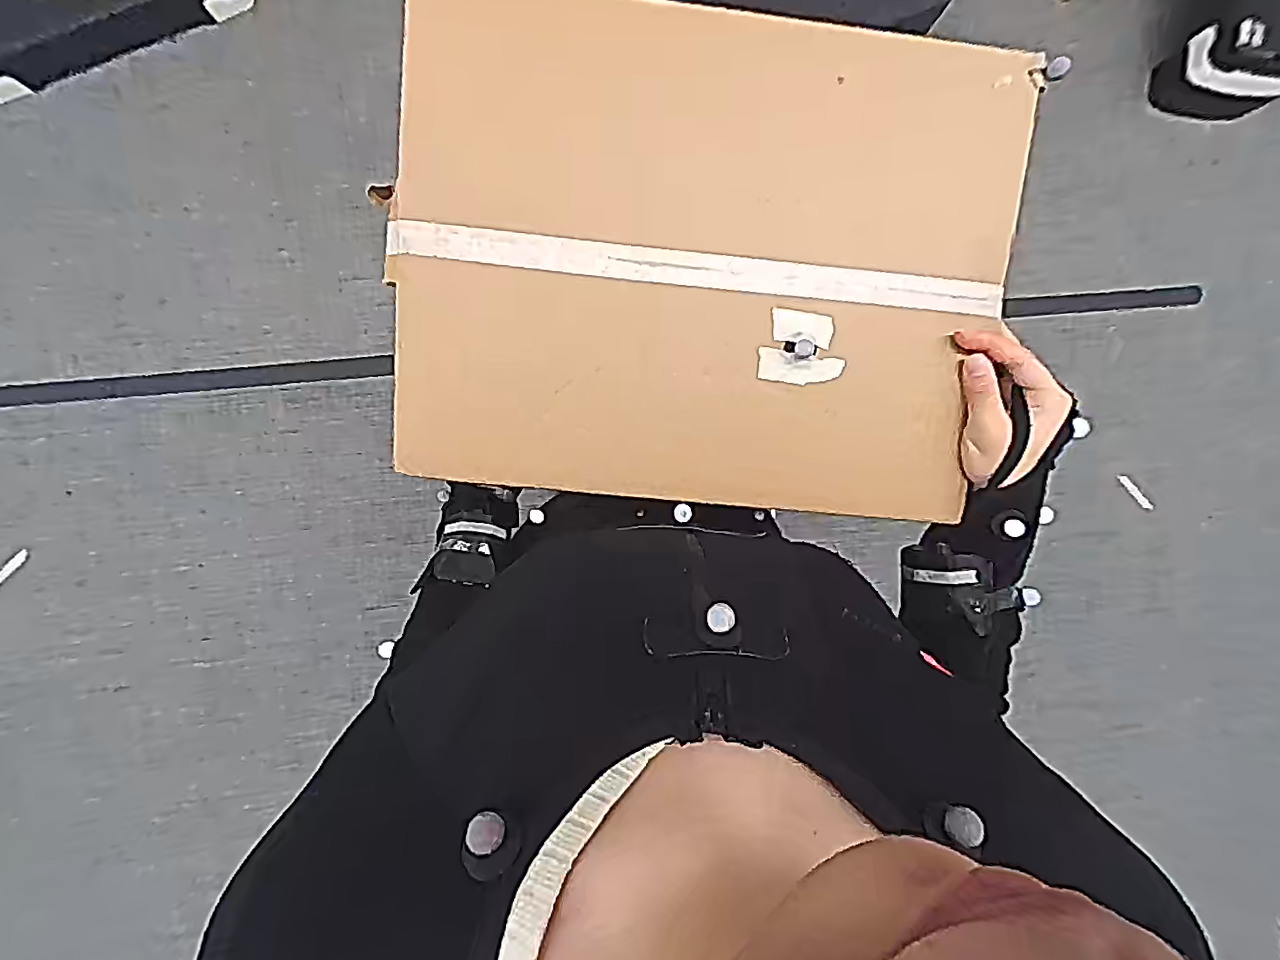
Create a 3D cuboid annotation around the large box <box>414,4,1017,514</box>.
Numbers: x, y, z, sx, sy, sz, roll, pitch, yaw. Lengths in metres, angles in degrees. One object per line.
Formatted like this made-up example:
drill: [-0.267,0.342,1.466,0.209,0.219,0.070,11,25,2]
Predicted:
large box: [0.038,-0.157,0.518,0.408,0.320,0.320,4,99,-4]
